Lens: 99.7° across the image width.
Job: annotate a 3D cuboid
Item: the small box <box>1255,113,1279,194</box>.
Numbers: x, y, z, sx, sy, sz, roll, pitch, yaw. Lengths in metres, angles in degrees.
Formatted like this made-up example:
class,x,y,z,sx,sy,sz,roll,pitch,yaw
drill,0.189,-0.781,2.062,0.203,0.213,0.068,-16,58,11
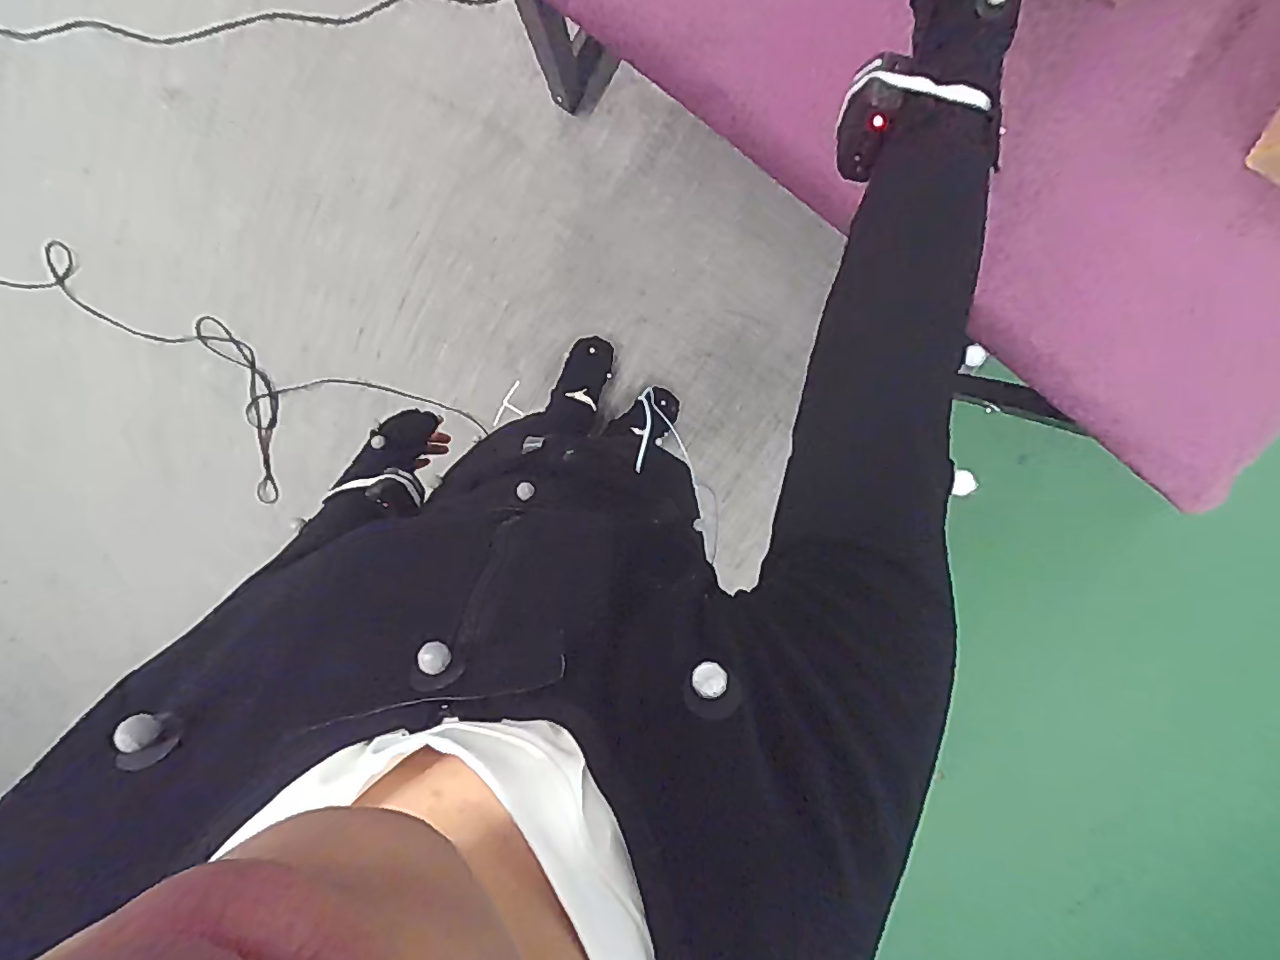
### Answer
class,x,y,z,sx,sy,sz,roll,pitch,yaw
small box,0.802,-0.372,0.540,0.168,0.176,0.179,23,105,-8
